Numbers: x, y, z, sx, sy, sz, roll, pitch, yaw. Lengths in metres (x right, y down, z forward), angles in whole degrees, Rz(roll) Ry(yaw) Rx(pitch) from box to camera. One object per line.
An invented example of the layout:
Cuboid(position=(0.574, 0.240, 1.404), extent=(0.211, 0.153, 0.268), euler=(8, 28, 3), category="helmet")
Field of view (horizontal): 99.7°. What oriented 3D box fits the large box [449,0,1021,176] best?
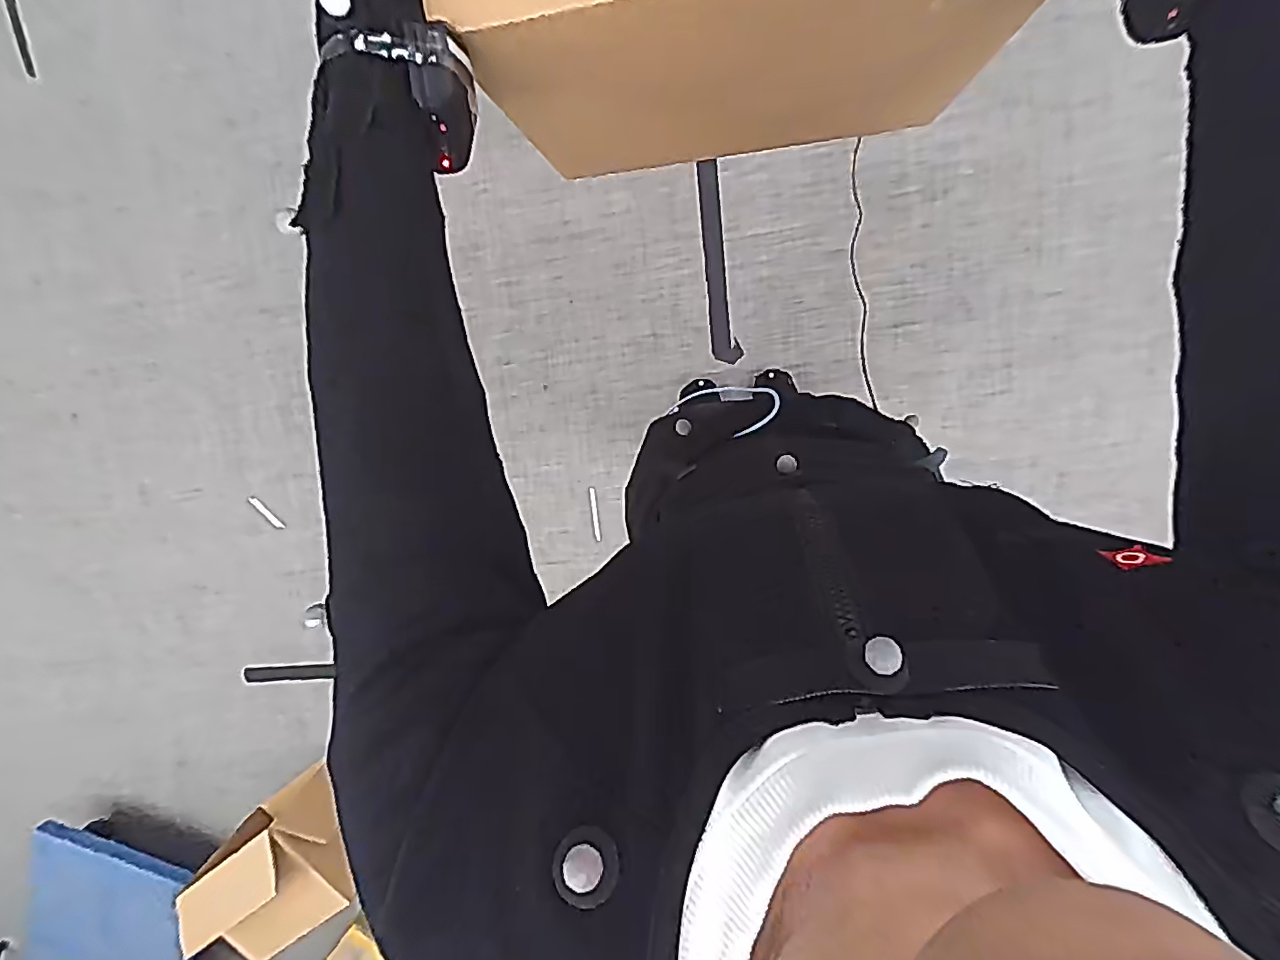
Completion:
Cuboid(position=(0.073, -0.485, 0.431), extent=(0.408, 0.320, 0.320), euler=(-5, 103, 8), category="large box")
